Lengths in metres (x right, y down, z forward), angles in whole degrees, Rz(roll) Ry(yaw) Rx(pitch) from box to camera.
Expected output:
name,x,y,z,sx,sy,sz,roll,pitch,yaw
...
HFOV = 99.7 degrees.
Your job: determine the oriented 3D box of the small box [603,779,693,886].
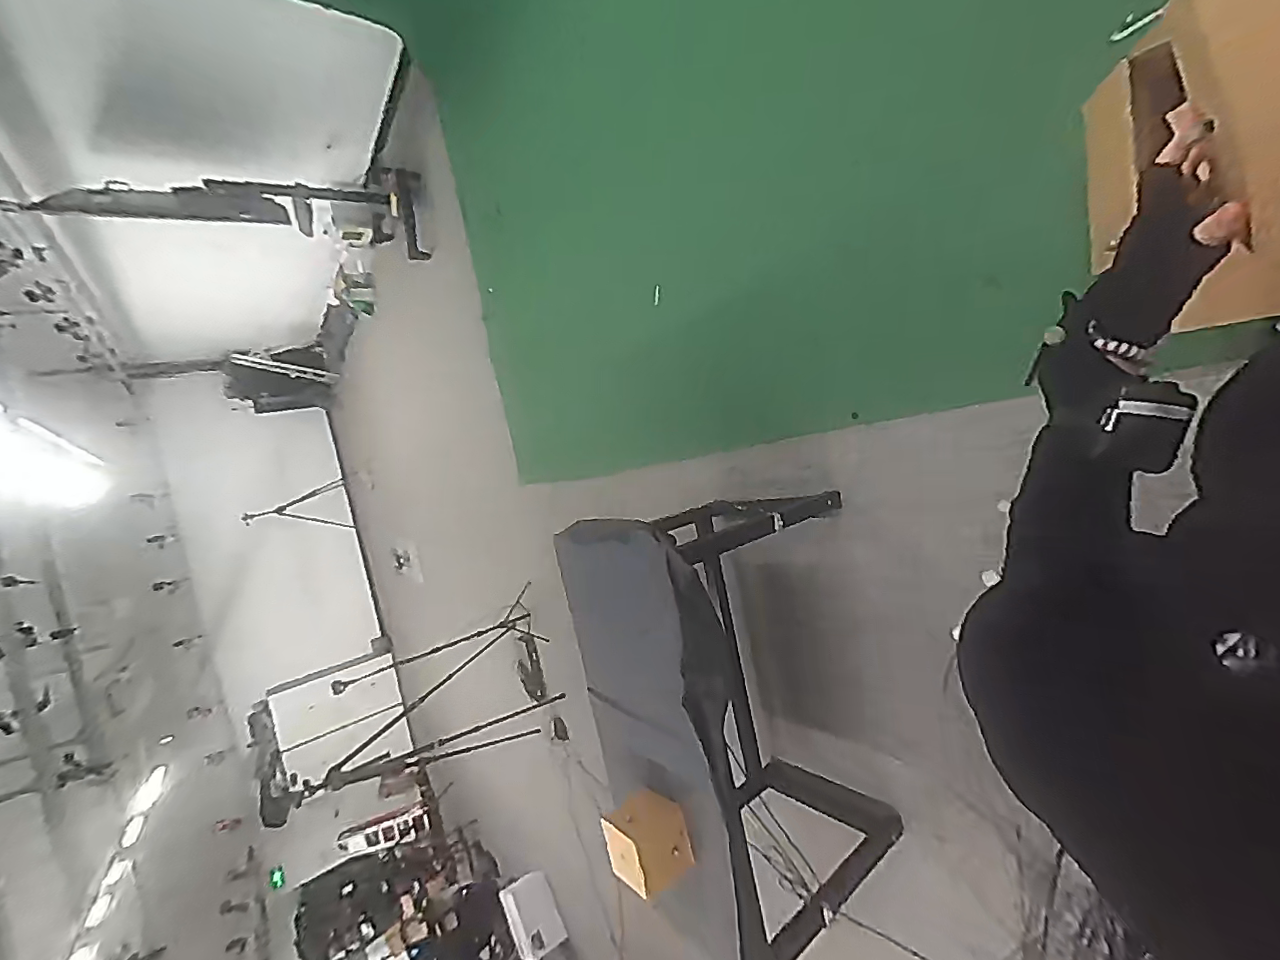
name,x,y,z,sx,sy,sz,roll,pitch,yaw
small box,0.022,0.984,1.530,0.179,0.176,0.168,-12,91,54
